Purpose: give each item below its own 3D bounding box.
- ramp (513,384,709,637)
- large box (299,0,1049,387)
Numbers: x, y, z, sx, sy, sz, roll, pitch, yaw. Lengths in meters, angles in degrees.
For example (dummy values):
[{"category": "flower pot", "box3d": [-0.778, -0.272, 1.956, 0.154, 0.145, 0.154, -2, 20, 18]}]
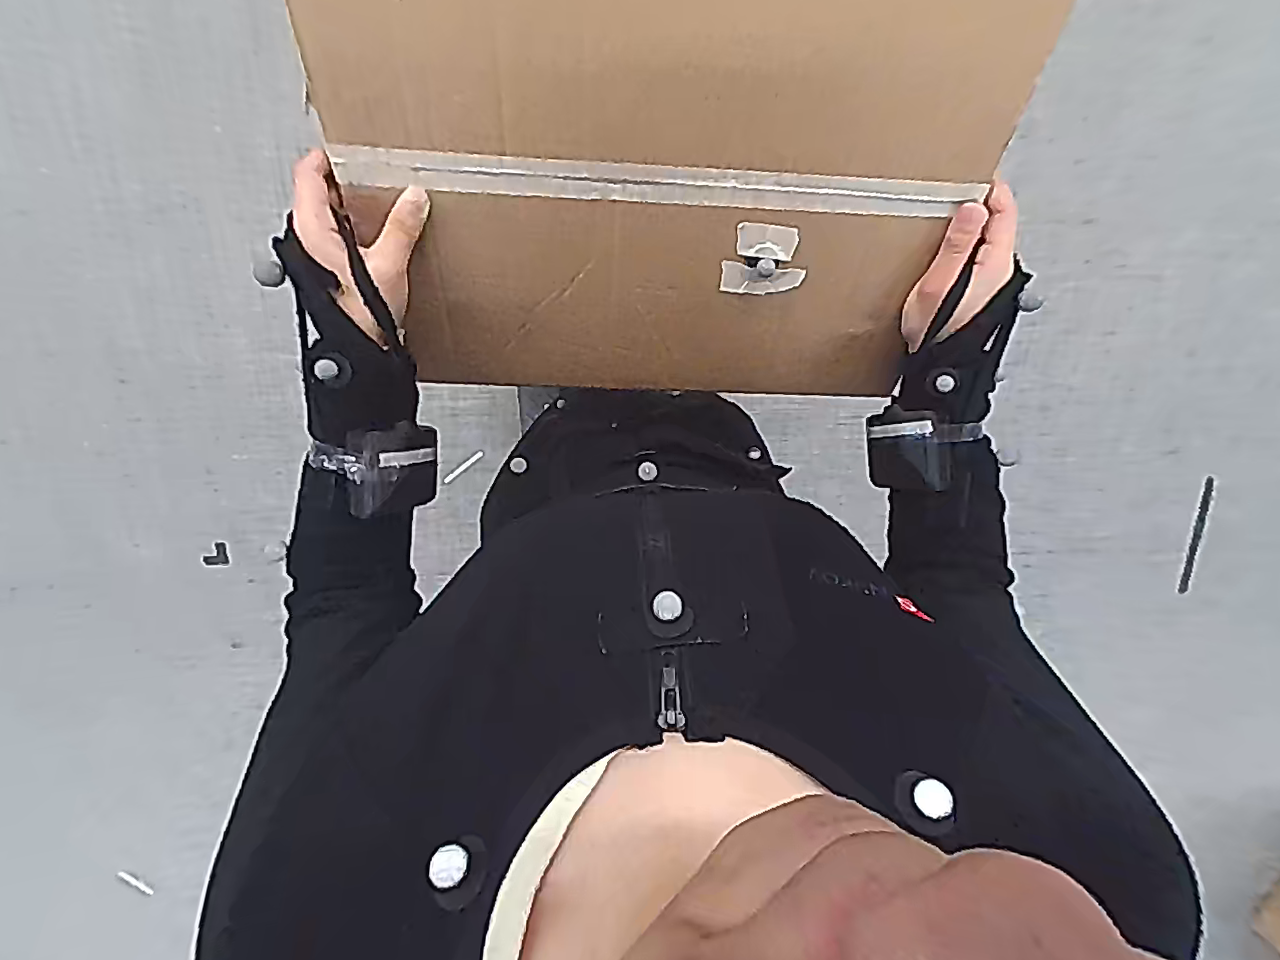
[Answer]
[{"category": "ramp", "box3d": [-0.068, 0.026, 1.469, 0.509, 0.206, 0.991, -3, 106, -4]}, {"category": "large box", "box3d": [0.008, -0.292, 0.453, 0.408, 0.320, 0.320, 0, 136, -6]}]
